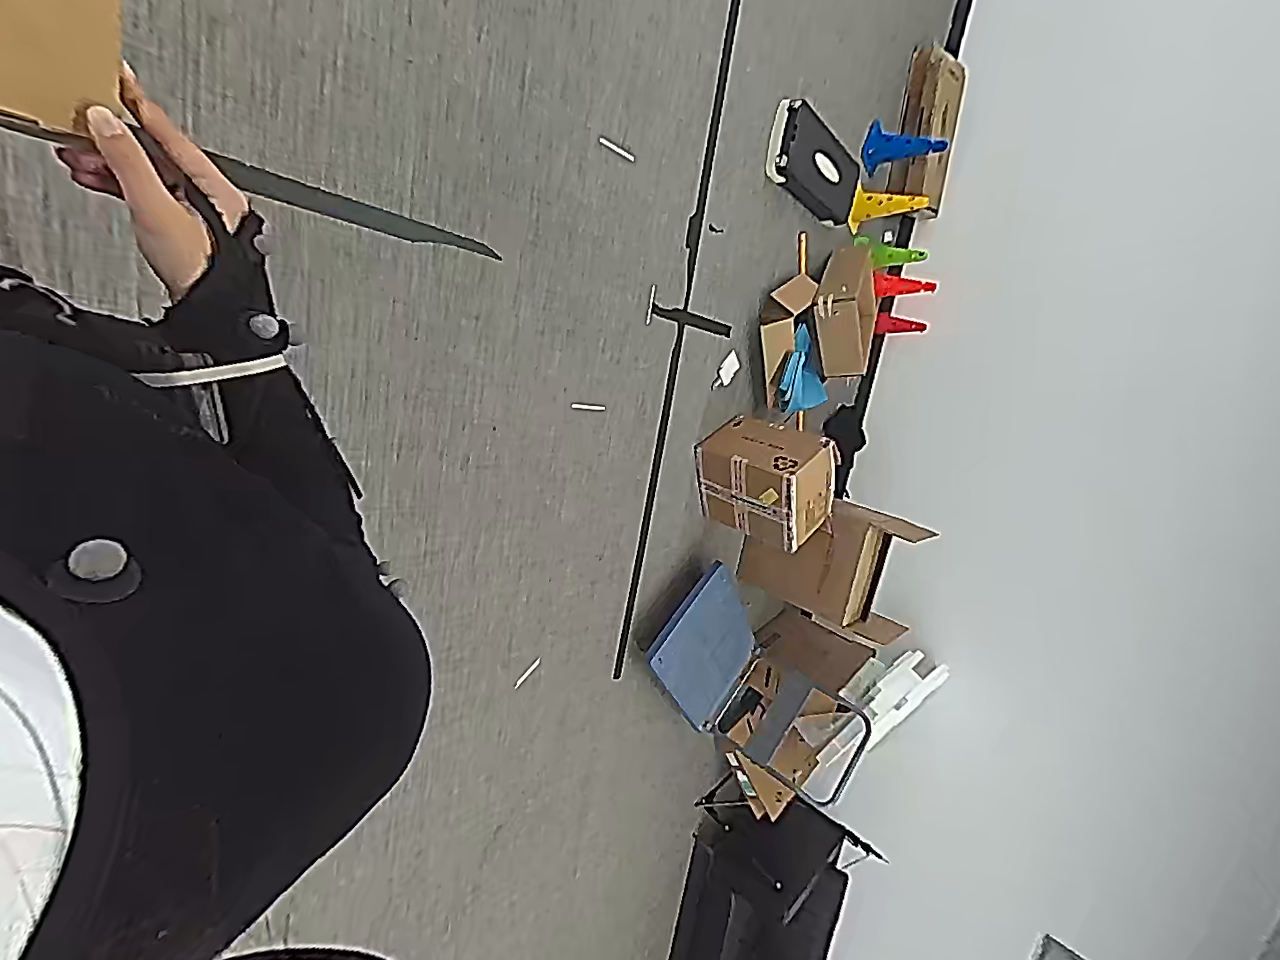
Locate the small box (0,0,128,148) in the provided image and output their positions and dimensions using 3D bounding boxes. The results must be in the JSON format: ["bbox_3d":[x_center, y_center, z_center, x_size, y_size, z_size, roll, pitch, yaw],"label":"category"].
[{"bbox_3d":[-0.377,-0.297,0.272,0.168,0.176,0.179,0,111,-47],"label":"small box"}]

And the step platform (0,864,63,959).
[{"bbox_3d":[-1.396,0.942,0.839,0.684,0.204,0.286,-4,109,-49],"label":"step platform"}]
